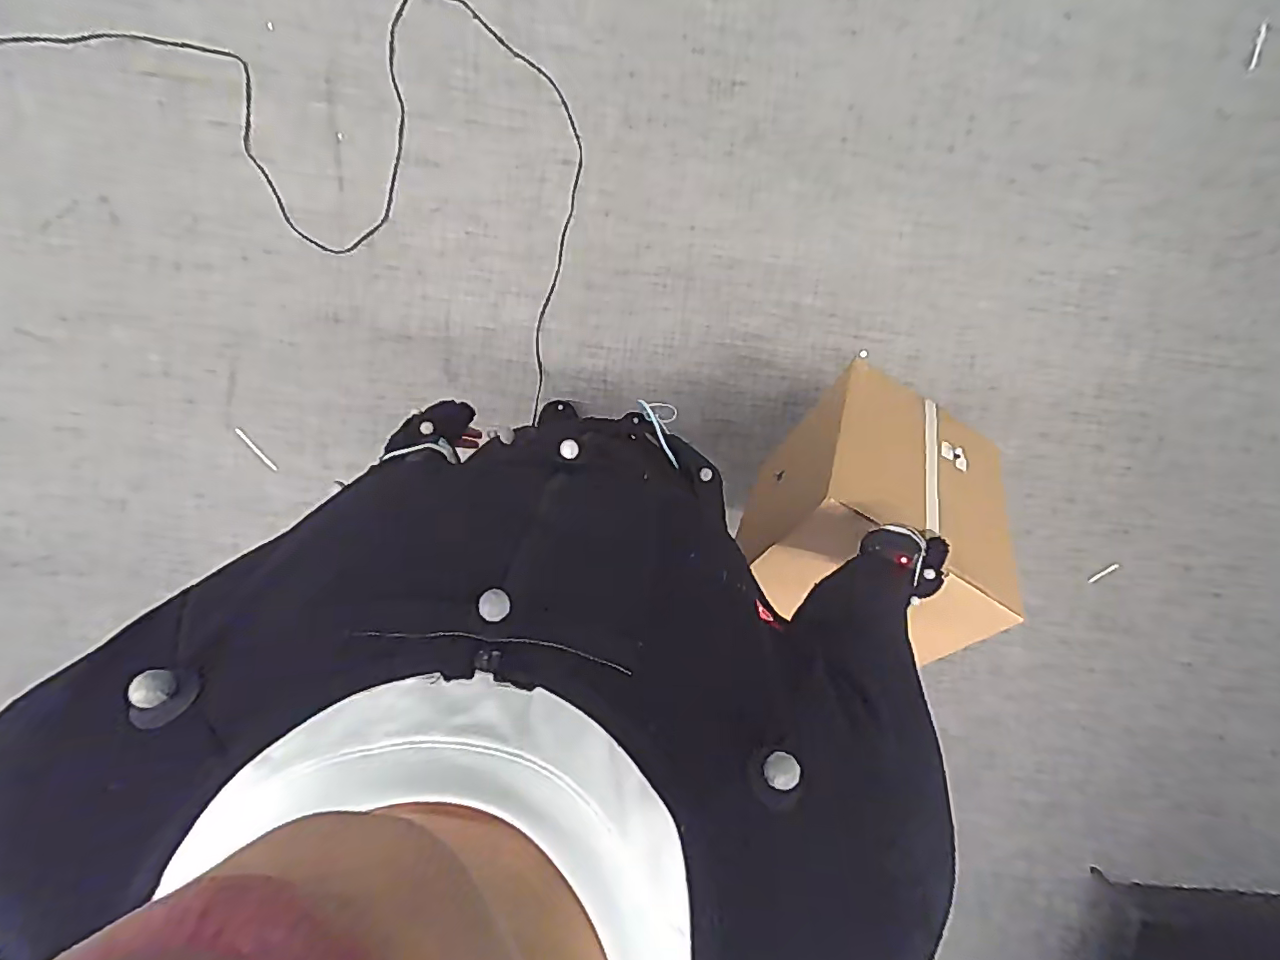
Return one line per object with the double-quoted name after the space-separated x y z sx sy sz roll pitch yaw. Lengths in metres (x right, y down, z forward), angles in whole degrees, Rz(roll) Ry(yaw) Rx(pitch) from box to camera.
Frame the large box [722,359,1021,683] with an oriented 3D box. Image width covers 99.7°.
0.386 0.067 0.953 0.320 0.408 0.320 33 135 -2 "large box"
